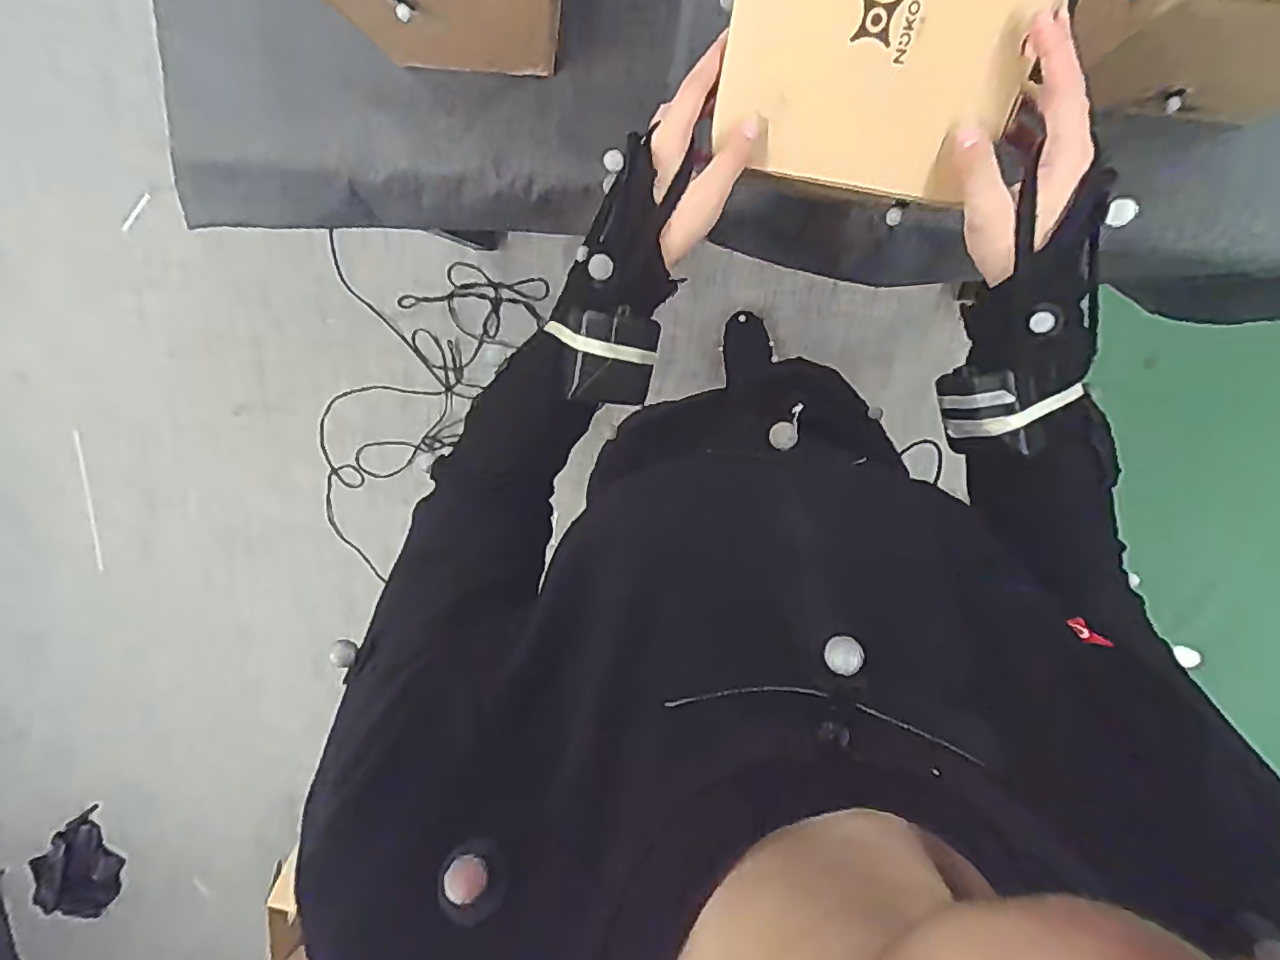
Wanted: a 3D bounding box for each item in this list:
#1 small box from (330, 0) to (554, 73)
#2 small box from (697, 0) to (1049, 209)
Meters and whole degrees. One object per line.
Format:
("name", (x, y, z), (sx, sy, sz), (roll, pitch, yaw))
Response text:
("small box", (-0.177, -0.475, 0.452), (0.179, 0.176, 0.168), (9, 106, 5))
("small box", (0.145, -0.294, 0.376), (0.179, 0.176, 0.168), (12, 115, 3))
